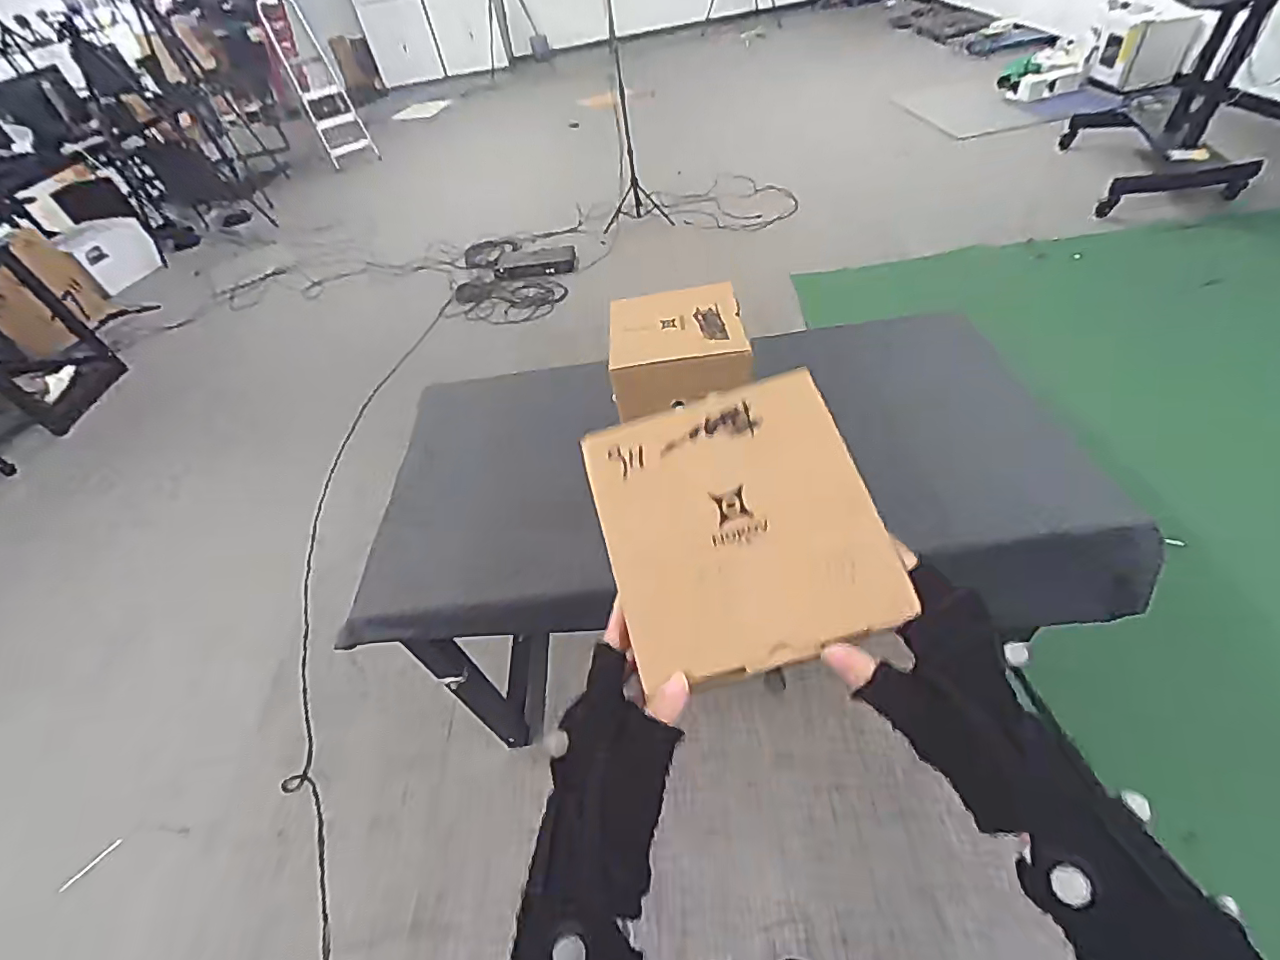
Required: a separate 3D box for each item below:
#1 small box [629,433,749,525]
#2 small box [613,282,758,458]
[{"bbox_3d":[0.079,-0.041,0.883,0.179,0.176,0.168,-6,48,4],"label":"small box"},{"bbox_3d":[0.061,-0.151,0.762,0.179,0.176,0.168,-8,48,3],"label":"small box"}]
